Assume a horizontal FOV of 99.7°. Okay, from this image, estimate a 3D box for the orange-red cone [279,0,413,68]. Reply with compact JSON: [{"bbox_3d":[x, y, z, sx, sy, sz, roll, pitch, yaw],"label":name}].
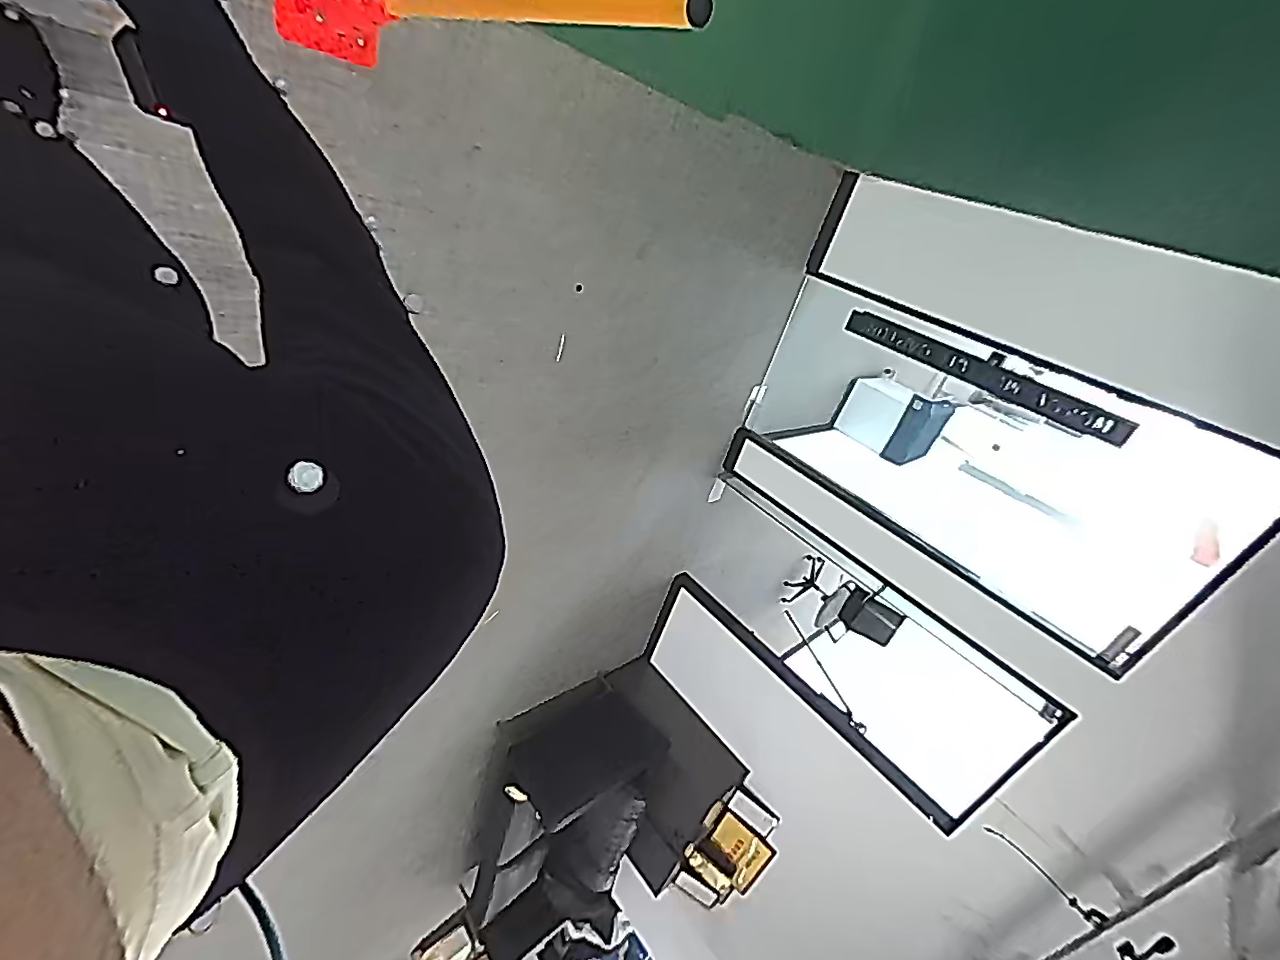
[{"bbox_3d":[-0.524,-0.912,1.025,0.198,0.360,0.199,-12,129,-44],"label":"orange-red cone"}]
